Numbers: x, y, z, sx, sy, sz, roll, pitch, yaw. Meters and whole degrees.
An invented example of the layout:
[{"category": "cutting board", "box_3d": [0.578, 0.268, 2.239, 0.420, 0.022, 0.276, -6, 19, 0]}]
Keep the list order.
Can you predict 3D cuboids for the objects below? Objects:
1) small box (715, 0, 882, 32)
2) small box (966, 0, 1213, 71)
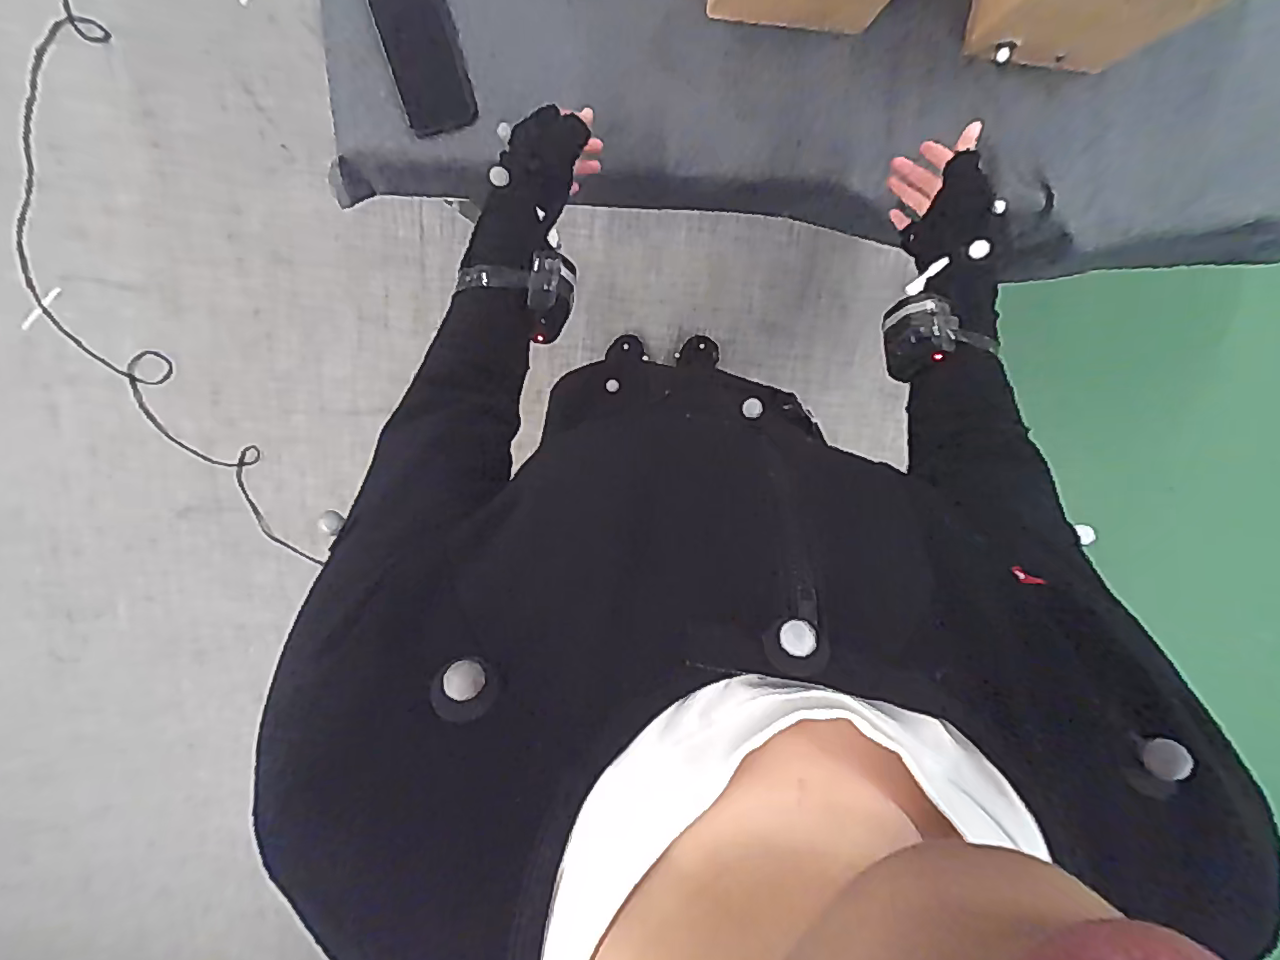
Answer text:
[{"category": "small box", "box_3d": [0.171, -0.557, 0.499, 0.179, 0.176, 0.168, 2, 105, -4]}, {"category": "small box", "box_3d": [0.455, -0.538, 0.523, 0.168, 0.176, 0.179, 4, 104, -5]}]
